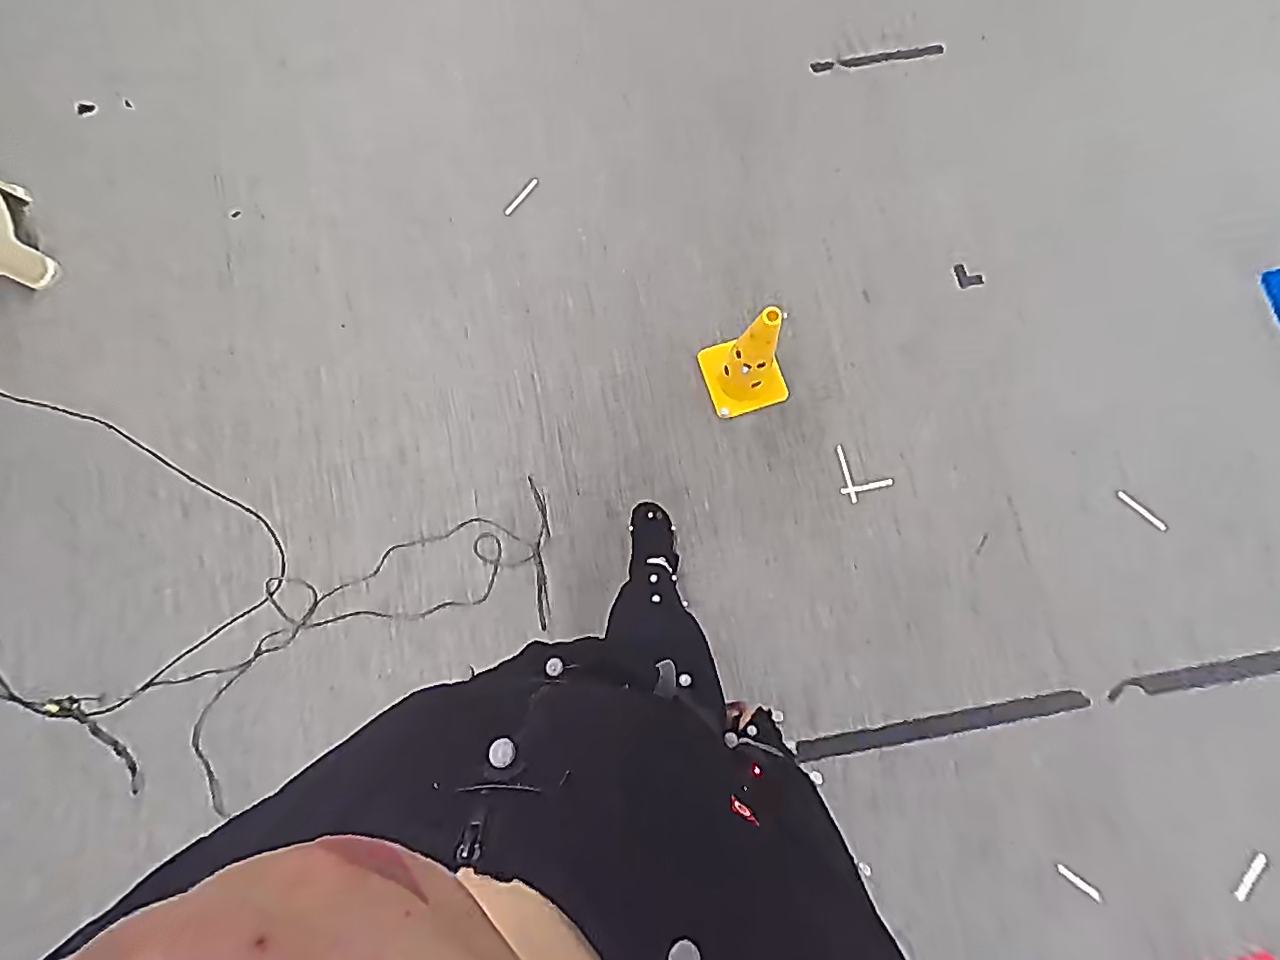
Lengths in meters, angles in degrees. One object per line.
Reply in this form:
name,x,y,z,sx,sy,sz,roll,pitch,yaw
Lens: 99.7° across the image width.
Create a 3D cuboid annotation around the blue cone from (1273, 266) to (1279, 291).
blue cone,1.800,-0.529,1.276,0.193,0.380,0.192,-10,80,-1
